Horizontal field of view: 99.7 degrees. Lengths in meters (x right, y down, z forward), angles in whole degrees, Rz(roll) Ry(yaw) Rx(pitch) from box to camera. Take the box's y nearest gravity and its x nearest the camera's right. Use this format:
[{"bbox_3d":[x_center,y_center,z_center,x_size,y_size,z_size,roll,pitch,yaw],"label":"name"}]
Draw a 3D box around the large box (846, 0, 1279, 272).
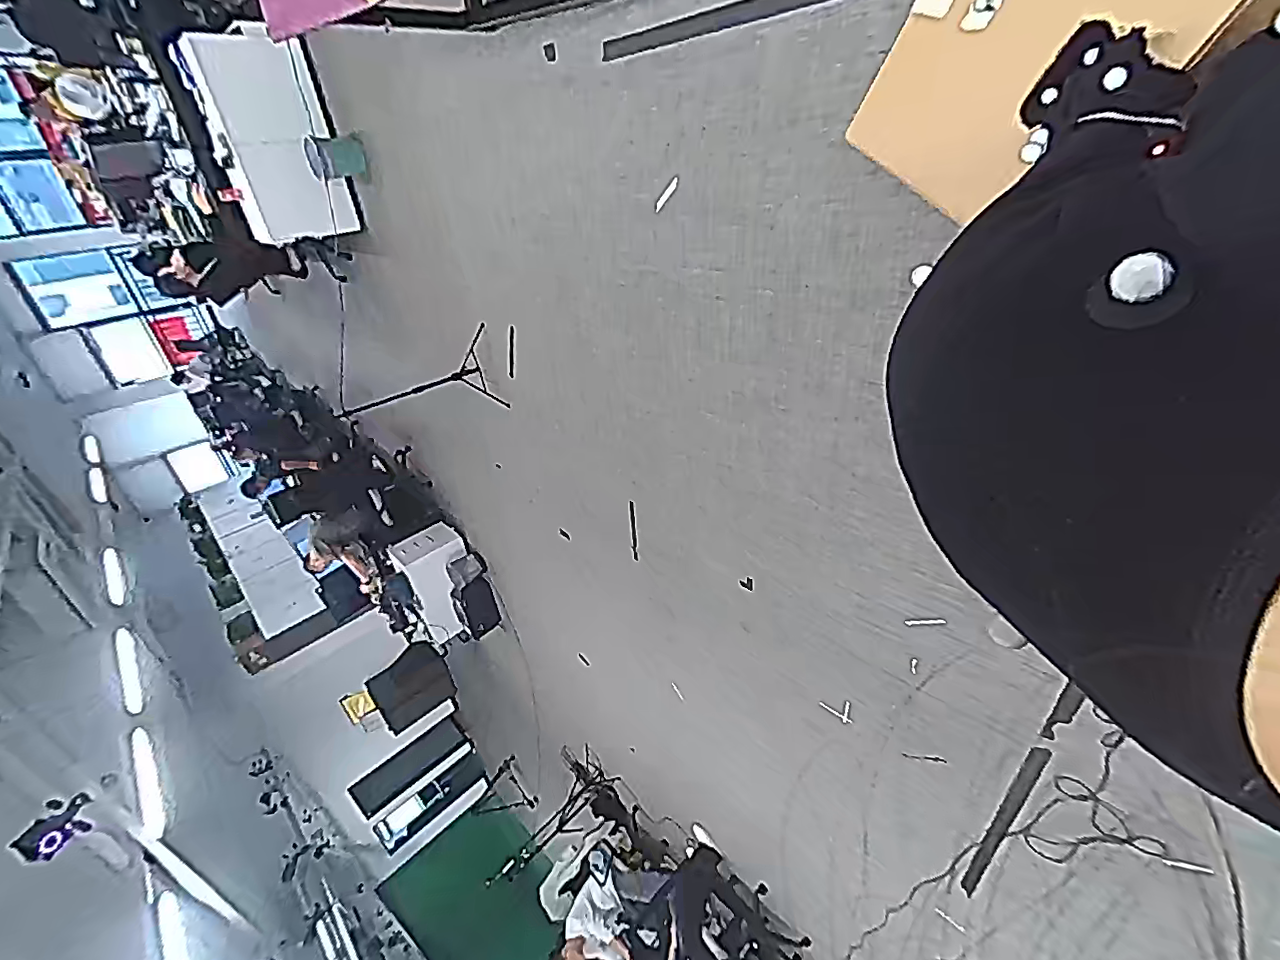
[{"bbox_3d":[0.570,-0.500,0.714,0.320,0.408,0.320,58,144,27],"label":"large box"}]
